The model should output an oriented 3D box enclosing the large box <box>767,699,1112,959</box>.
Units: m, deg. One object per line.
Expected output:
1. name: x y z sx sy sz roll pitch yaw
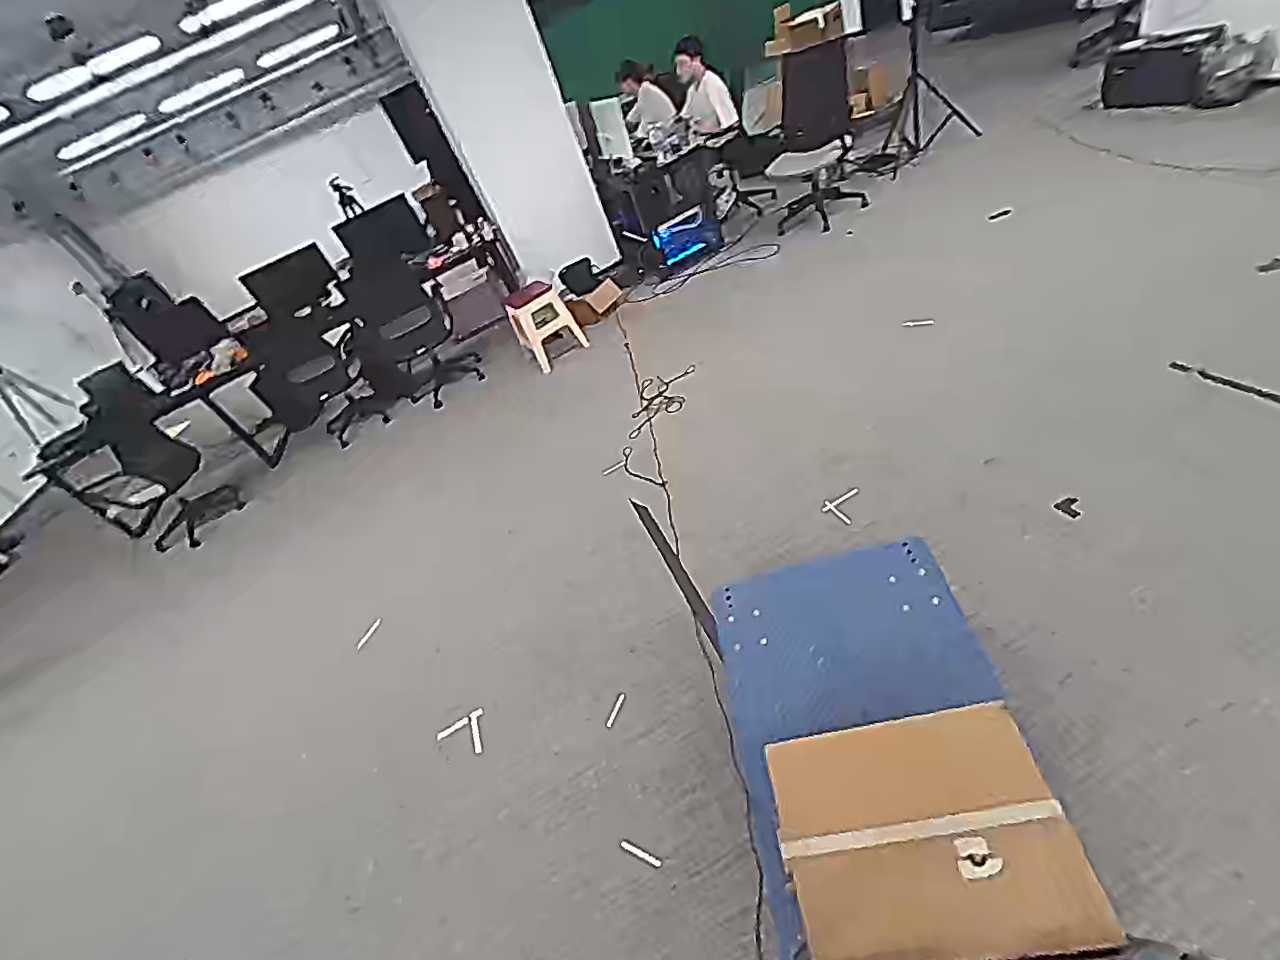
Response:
1. large box: 0.478 0.628 0.958 0.408 0.320 0.320 -16 49 11
